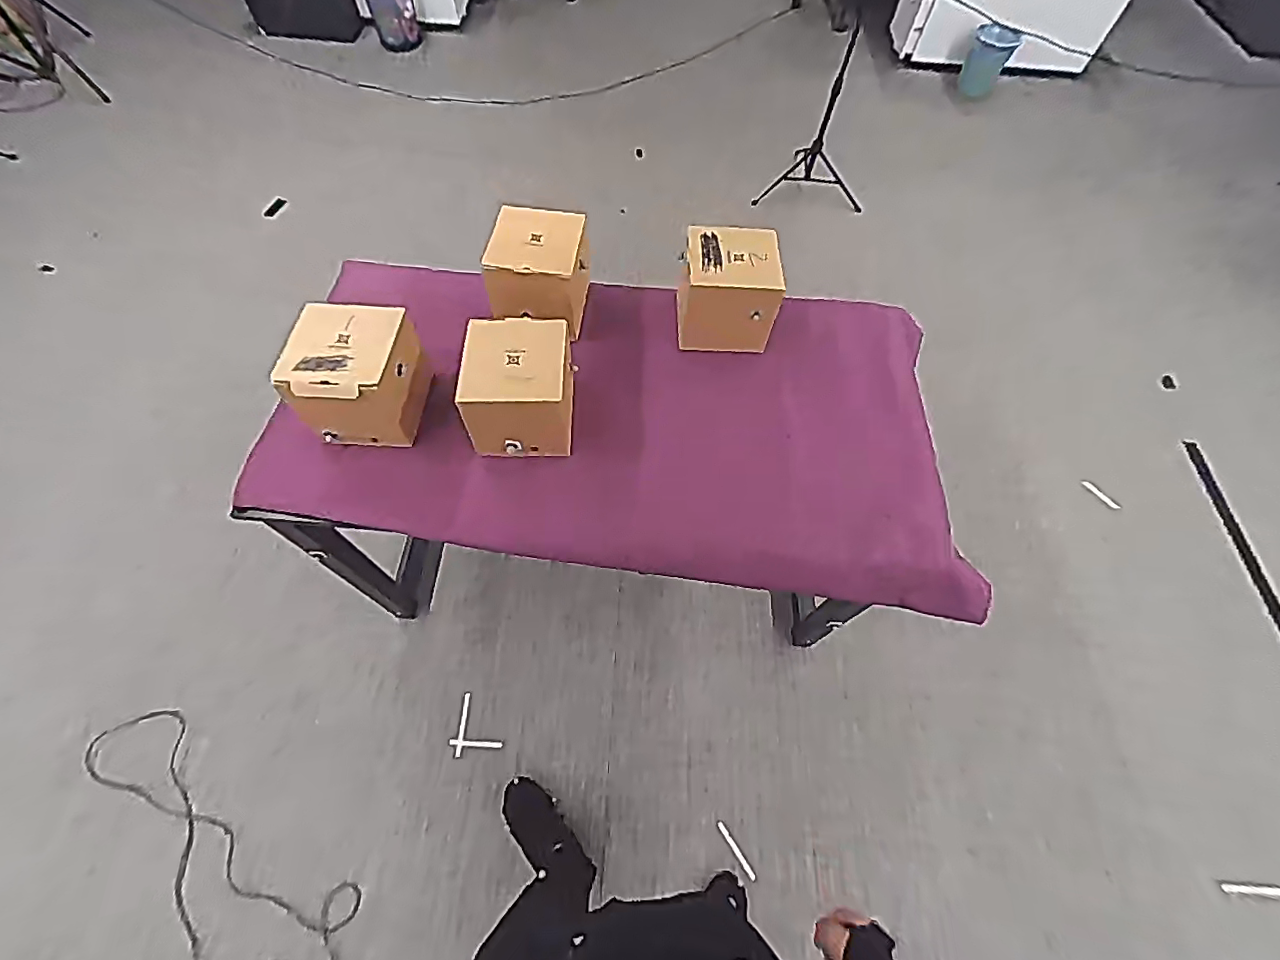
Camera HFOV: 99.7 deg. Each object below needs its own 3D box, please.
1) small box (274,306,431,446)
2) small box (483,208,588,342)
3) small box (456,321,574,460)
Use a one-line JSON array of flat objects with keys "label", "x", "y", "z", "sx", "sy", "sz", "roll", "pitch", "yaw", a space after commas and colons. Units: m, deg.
[{"label": "small box", "x": -0.479, "y": -0.173, "z": 0.934, "sx": 0.168, "sy": 0.176, "sz": 0.179, "roll": 3, "pitch": 60, "yaw": -2}, {"label": "small box", "x": -0.197, "y": -0.401, "z": 1.073, "sx": 0.168, "sy": 0.176, "sz": 0.179, "roll": 7, "pitch": 62, "yaw": 0}, {"label": "small box", "x": -0.205, "y": -0.152, "z": 0.940, "sx": 0.168, "sy": 0.176, "sz": 0.179, "roll": 0, "pitch": 61, "yaw": -2}]
